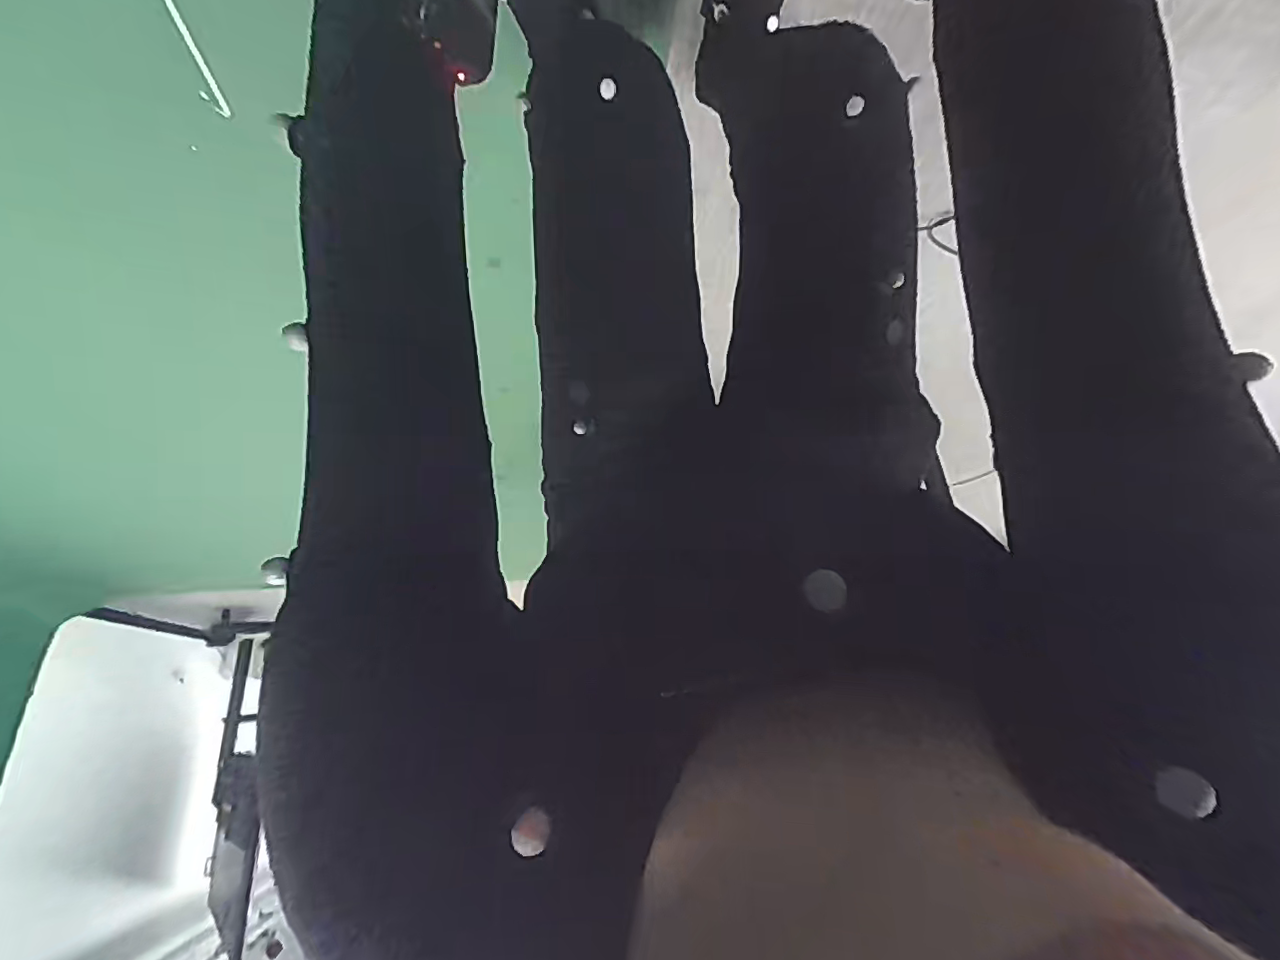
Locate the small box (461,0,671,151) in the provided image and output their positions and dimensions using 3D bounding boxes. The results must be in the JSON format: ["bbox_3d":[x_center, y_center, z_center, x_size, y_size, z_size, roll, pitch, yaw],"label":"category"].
[{"bbox_3d":[-0.087,-0.553,0.673,0.176,0.168,0.179,-11,138,-50],"label":"small box"}]
